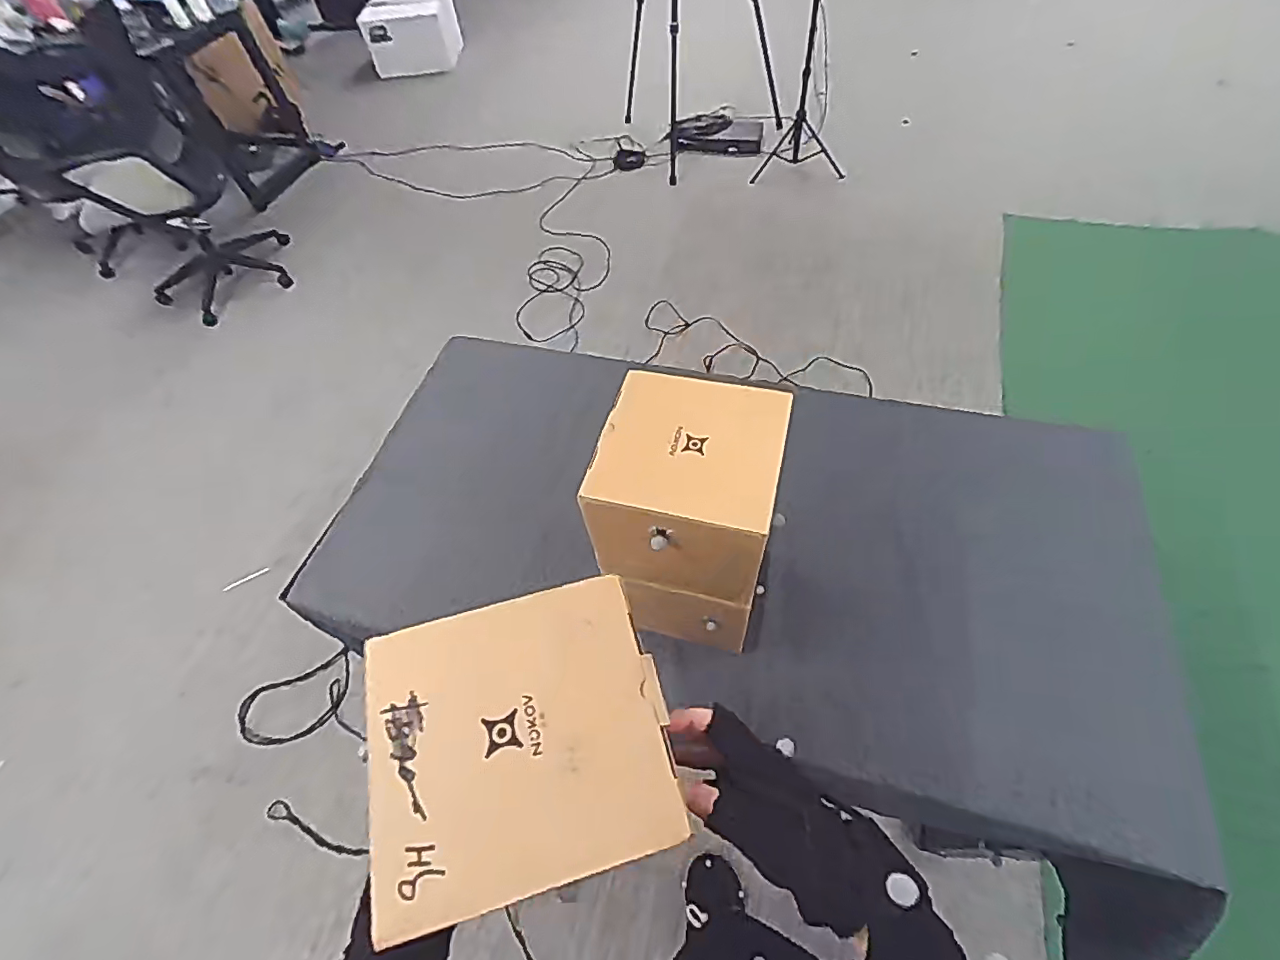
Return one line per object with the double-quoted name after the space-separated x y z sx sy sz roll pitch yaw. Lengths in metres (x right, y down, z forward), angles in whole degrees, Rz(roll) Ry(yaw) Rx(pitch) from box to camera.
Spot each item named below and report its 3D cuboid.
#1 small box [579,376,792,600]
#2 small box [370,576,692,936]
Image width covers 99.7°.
0.055 0.014 0.586 0.179 0.176 0.168 11 58 13 "small box"
-0.077 0.193 0.399 0.179 0.176 0.168 -12 59 -10 "small box"
